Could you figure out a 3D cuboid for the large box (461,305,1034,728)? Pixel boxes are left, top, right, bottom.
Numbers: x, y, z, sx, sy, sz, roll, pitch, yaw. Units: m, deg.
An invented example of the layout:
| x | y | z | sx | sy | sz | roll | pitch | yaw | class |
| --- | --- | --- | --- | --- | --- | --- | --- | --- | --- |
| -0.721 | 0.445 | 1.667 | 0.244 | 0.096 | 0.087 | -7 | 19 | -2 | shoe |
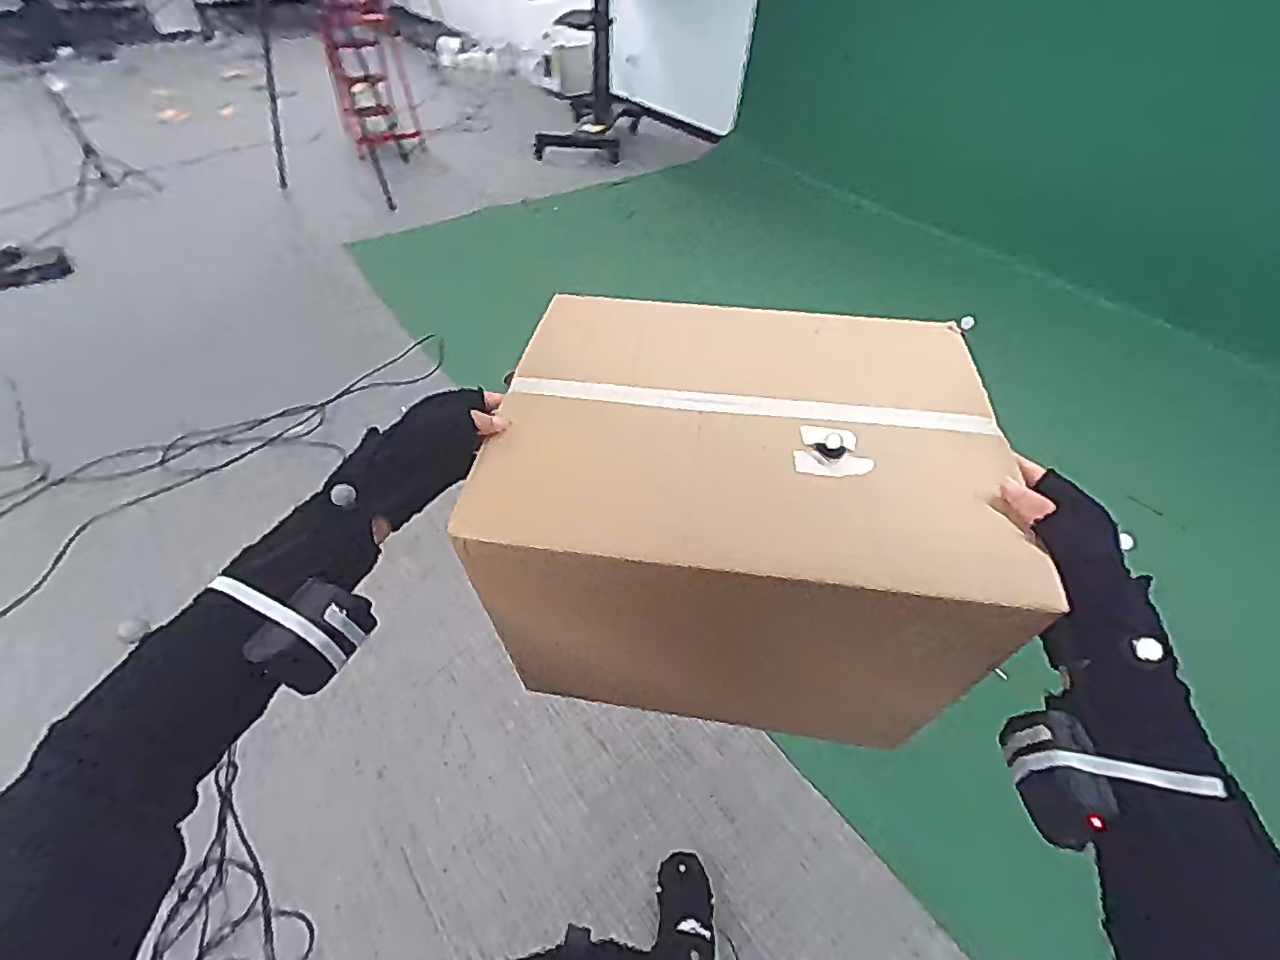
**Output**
| x | y | z | sx | sy | sz | roll | pitch | yaw | class |
| --- | --- | --- | --- | --- | --- | --- | --- | --- | --- |
| 0.083 | 0.040 | 0.579 | 0.408 | 0.320 | 0.320 | 6 | 51 | 5 | large box |
